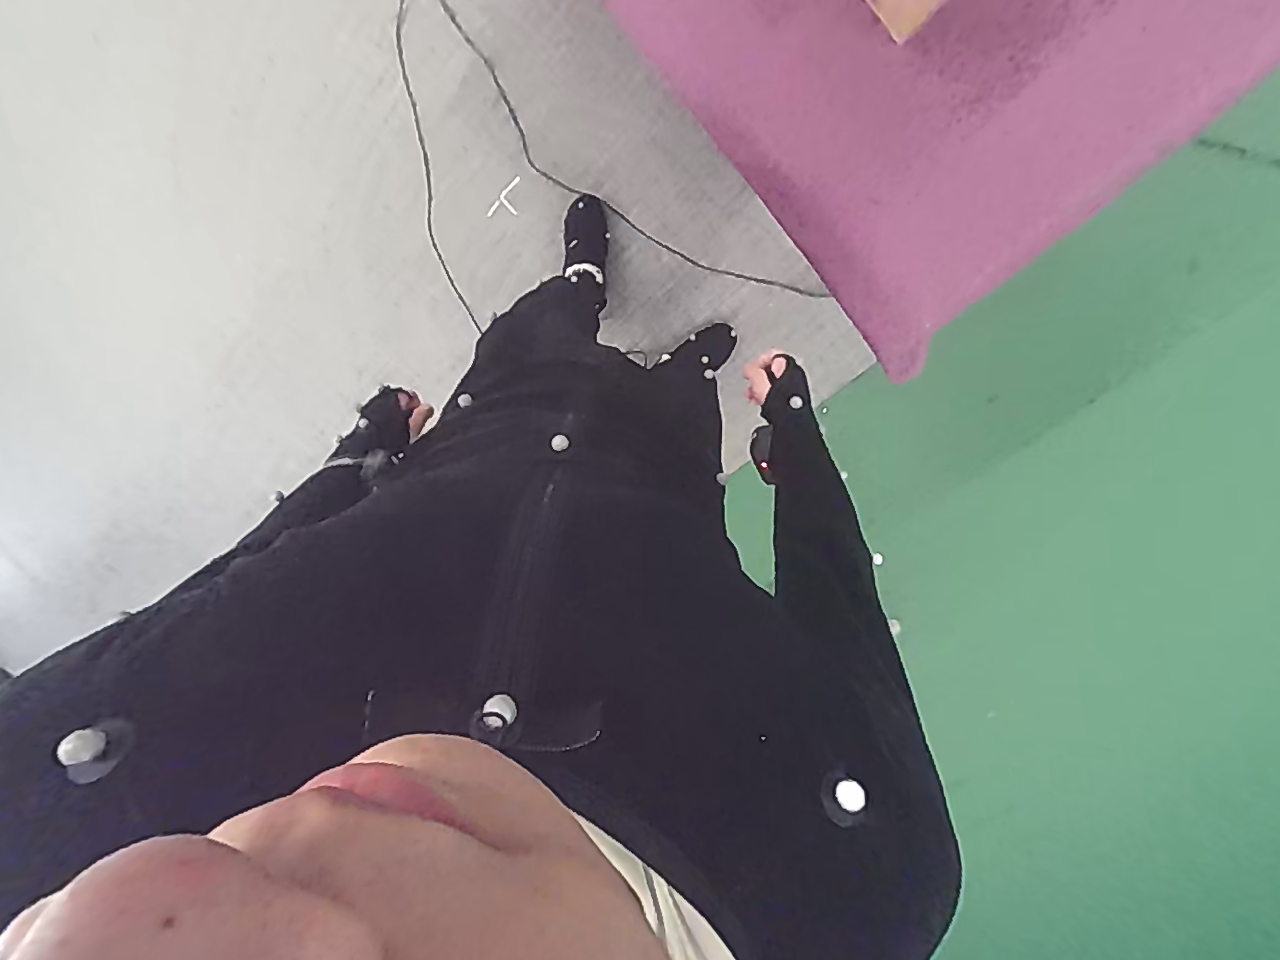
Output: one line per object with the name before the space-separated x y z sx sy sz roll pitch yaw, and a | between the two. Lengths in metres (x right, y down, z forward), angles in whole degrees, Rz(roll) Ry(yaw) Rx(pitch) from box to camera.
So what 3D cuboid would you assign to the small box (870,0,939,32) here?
small box | 0.296 -0.590 0.509 0.179 0.176 0.168 -40 101 22
